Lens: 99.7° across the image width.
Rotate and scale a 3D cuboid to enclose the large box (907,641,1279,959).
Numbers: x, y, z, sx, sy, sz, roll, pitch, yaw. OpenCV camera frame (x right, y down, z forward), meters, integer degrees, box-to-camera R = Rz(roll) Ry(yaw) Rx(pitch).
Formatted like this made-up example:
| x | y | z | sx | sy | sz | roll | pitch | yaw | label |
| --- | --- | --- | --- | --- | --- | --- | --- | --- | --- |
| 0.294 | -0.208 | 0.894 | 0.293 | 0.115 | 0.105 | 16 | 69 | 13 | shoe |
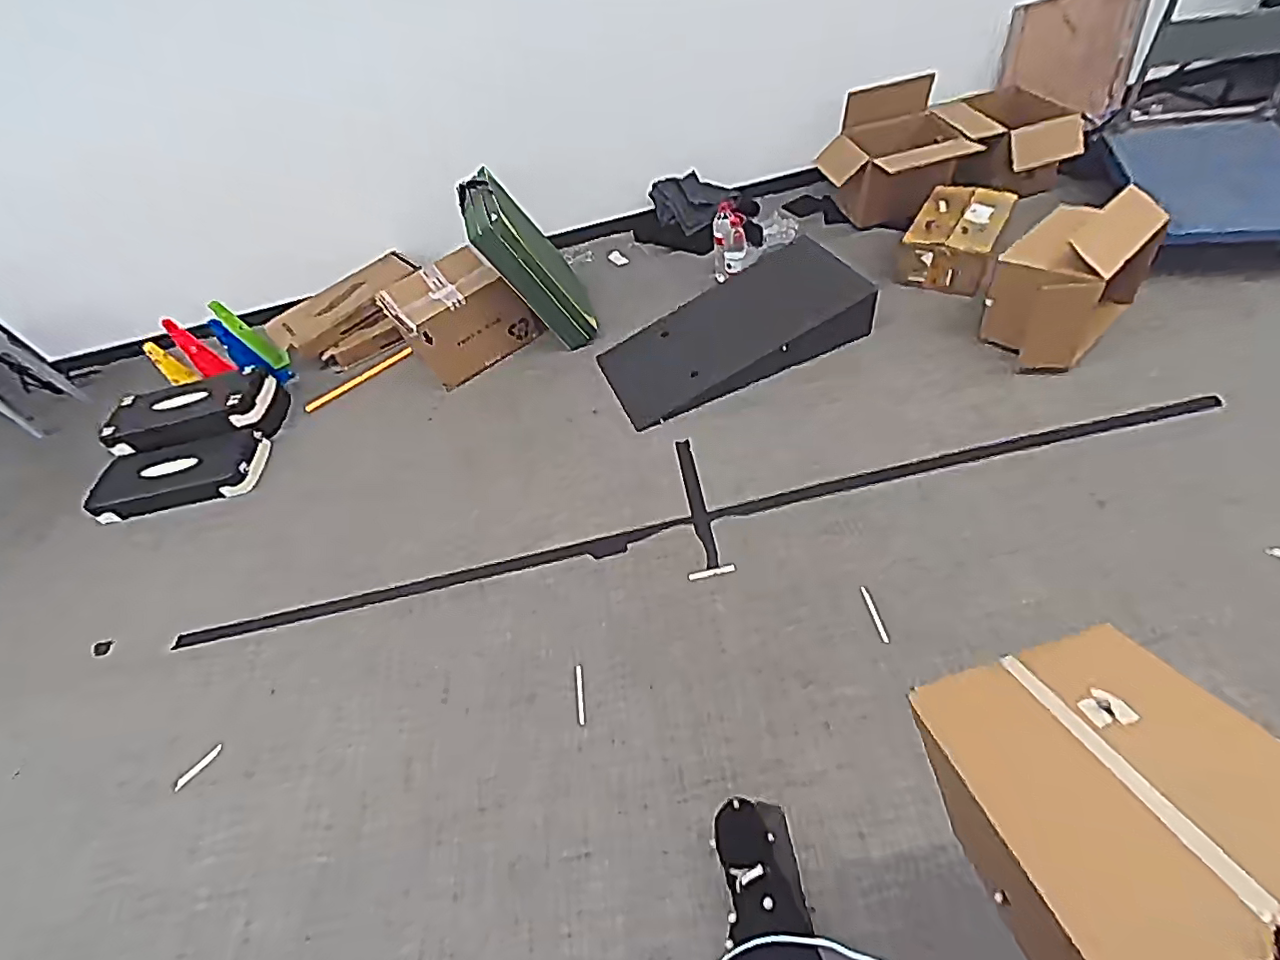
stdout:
| x | y | z | sx | sy | sz | roll | pitch | yaw | label |
| --- | --- | --- | --- | --- | --- | --- | --- | --- | --- |
| 0.618 | 0.484 | 0.683 | 0.320 | 0.320 | 0.408 | -21 | 14 | 6 | large box |
